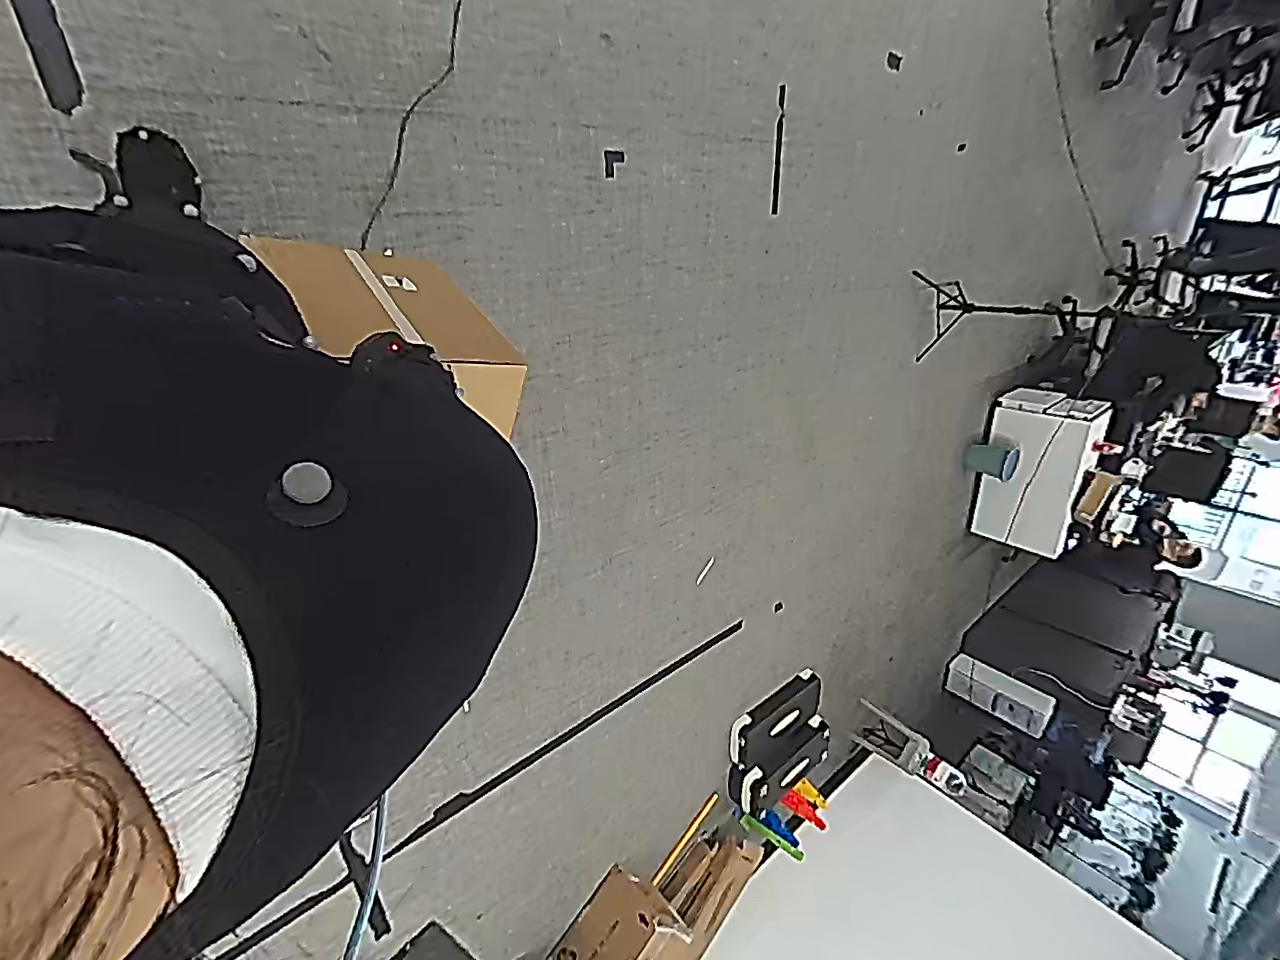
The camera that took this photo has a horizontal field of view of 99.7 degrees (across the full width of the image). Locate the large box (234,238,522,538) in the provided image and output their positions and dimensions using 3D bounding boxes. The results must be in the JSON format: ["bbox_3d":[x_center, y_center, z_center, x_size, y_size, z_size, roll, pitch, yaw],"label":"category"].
[{"bbox_3d":[-0.454,-0.165,0.917,0.320,0.408,0.320,-9,132,-42],"label":"large box"}]
